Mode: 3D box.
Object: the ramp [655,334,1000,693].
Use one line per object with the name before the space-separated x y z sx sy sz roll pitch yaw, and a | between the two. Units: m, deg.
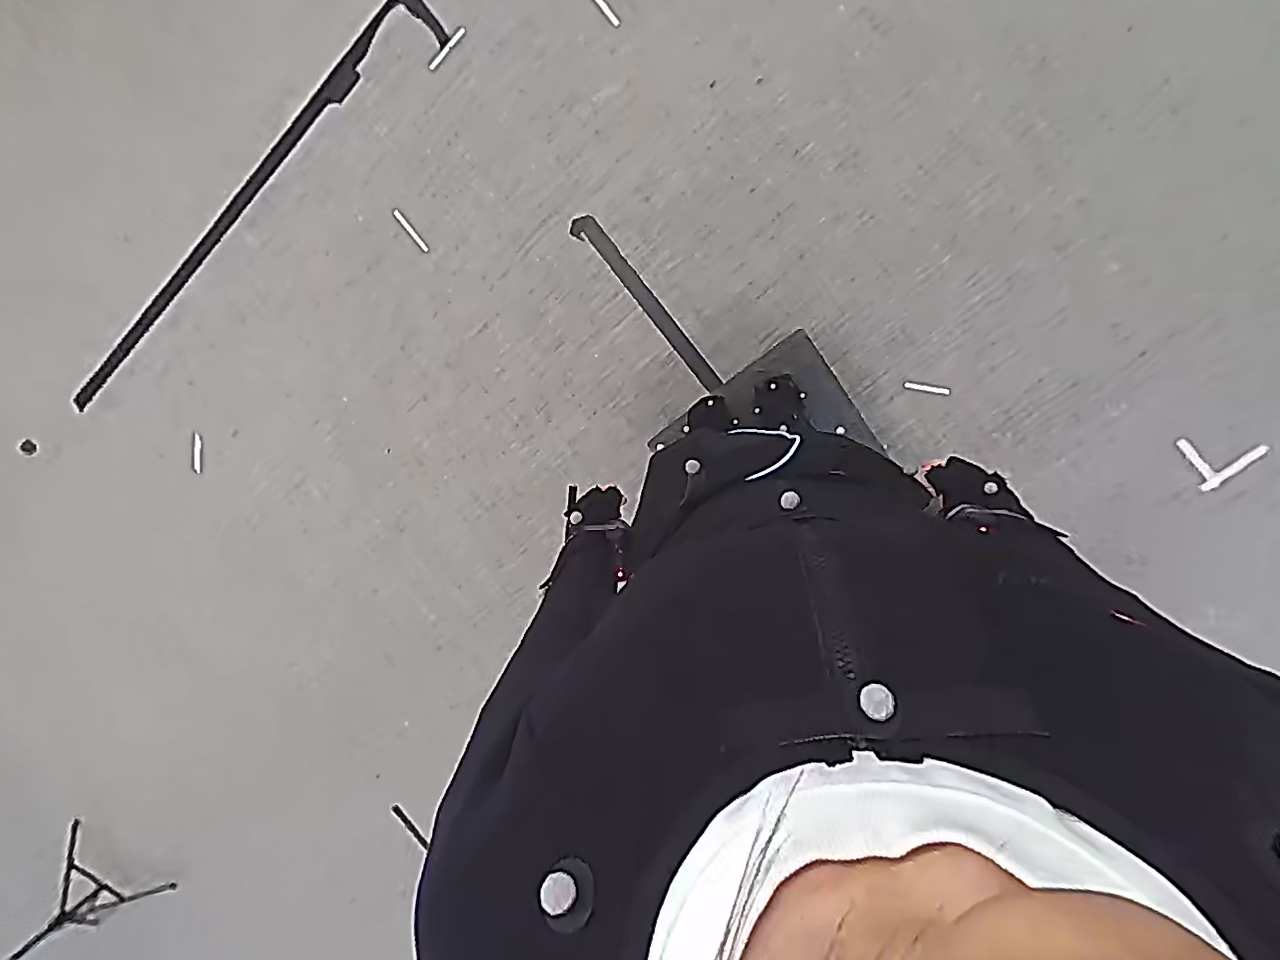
ramp | 0.538 0.141 1.500 0.509 0.206 0.991 -40 92 12
